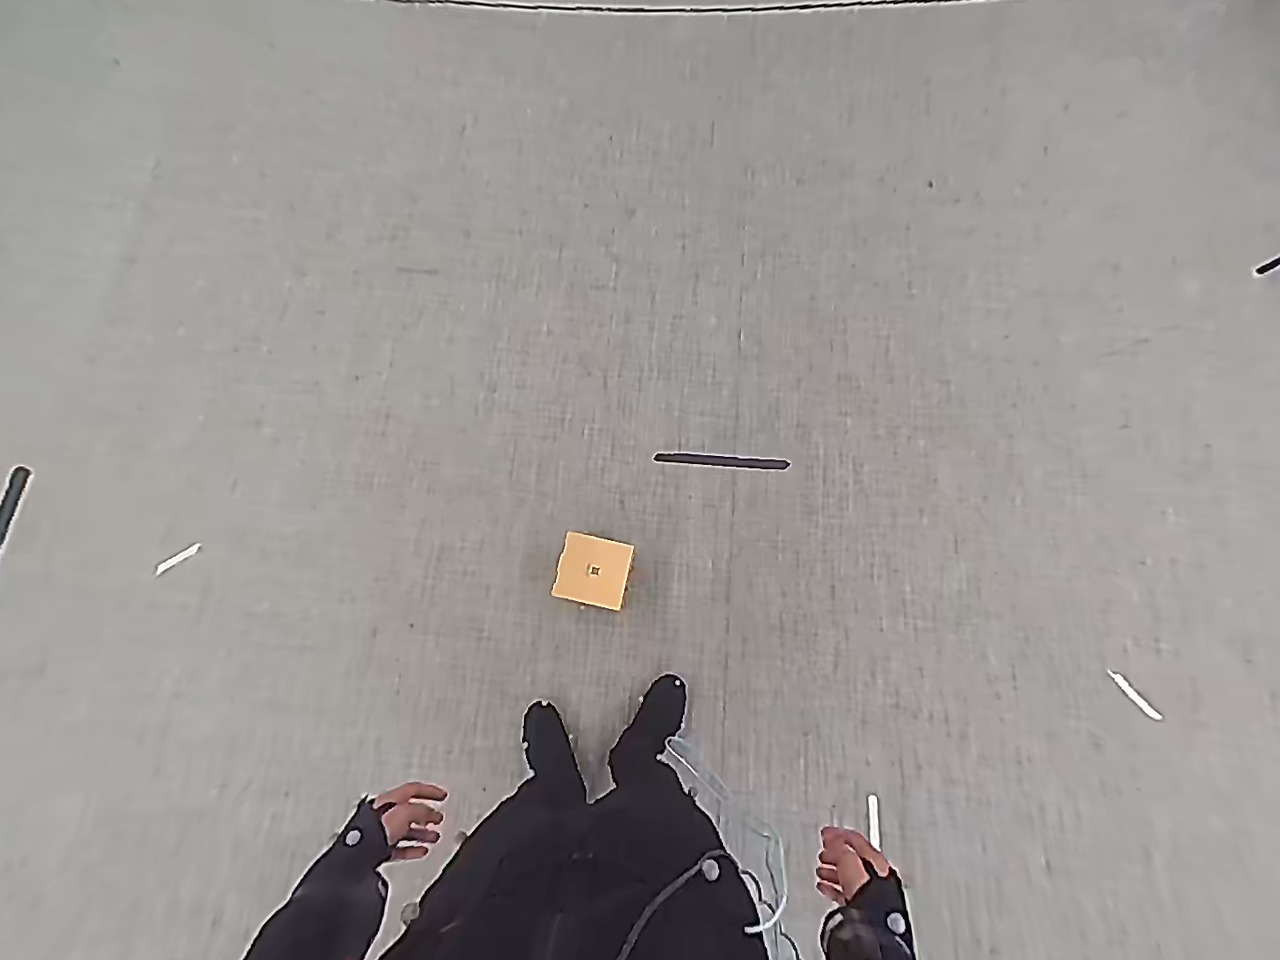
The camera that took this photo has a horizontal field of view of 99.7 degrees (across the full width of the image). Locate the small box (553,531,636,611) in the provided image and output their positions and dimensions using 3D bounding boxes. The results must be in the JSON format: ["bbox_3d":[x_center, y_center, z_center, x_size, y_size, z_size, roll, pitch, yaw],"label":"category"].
[{"bbox_3d":[-0.112,0.243,1.422,0.179,0.176,0.168,12,76,4],"label":"small box"}]
